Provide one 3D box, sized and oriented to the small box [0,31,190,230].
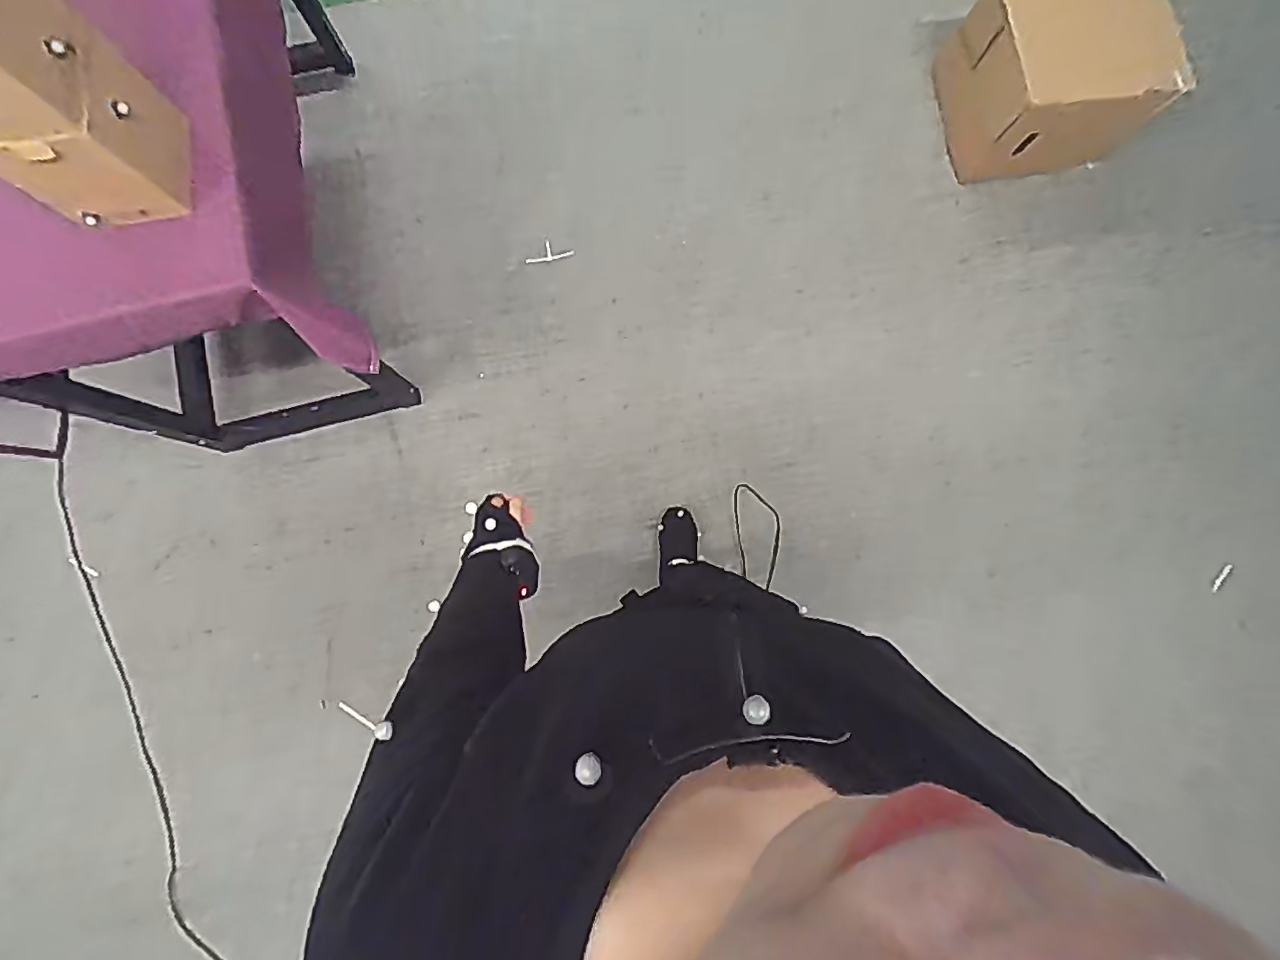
[{"bbox_3d":[-0.801,-0.488,0.785,0.168,0.176,0.179,-10,81,-2],"label":"small box"}]
